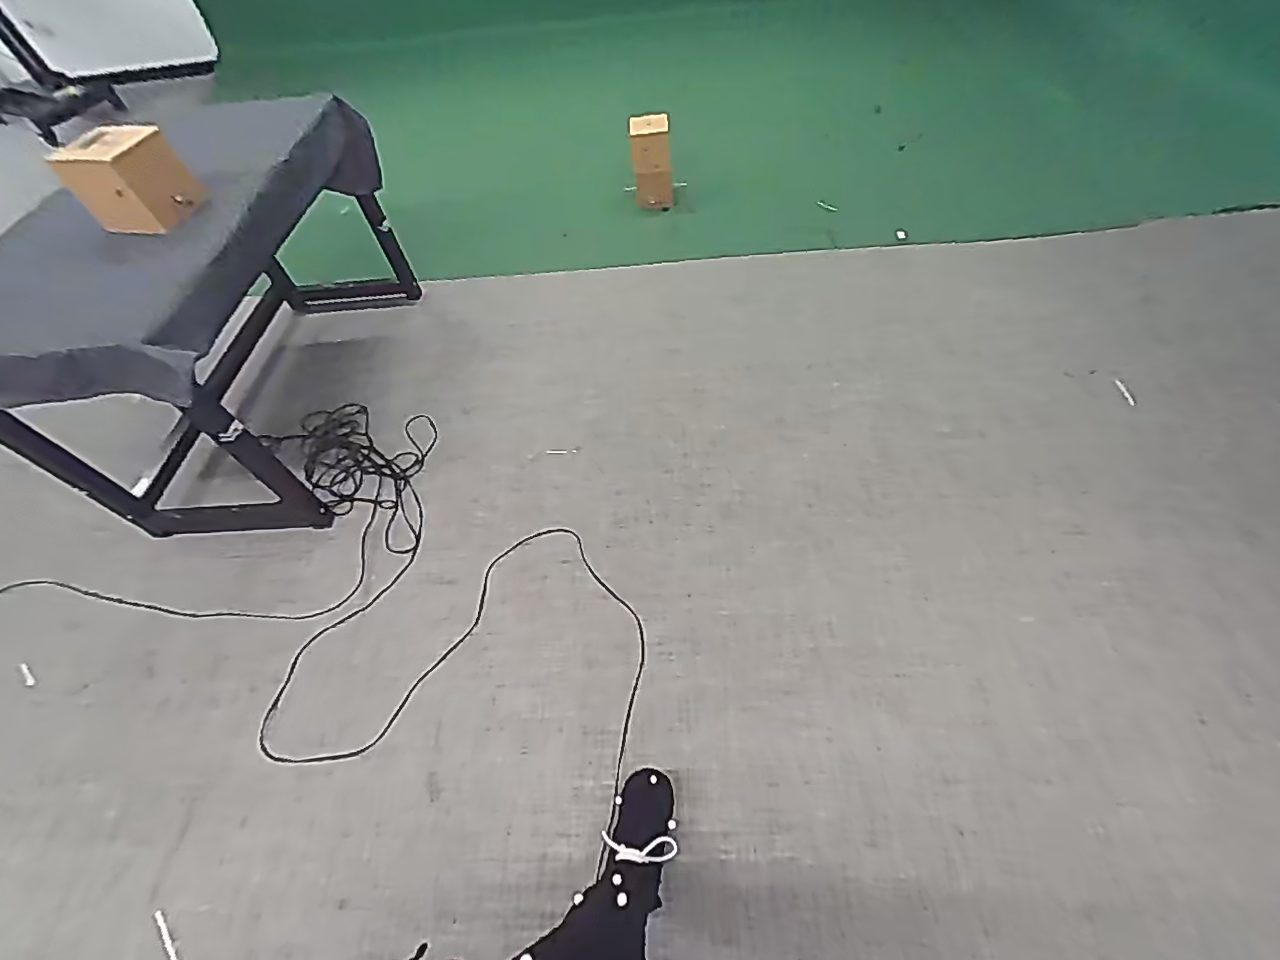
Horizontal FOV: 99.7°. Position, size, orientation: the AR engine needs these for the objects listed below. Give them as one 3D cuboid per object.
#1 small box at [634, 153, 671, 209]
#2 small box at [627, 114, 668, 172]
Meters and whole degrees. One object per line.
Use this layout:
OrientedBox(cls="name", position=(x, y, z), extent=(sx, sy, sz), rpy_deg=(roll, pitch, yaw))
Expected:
OrientedBox(cls="small box", position=(0.059, -1.397, 2.529), extent=(0.168, 0.176, 0.179), rpy_deg=(-4, 55, 4))
OrientedBox(cls="small box", position=(0.036, -1.486, 2.395), extent=(0.168, 0.176, 0.179), rpy_deg=(-4, 54, 4))
